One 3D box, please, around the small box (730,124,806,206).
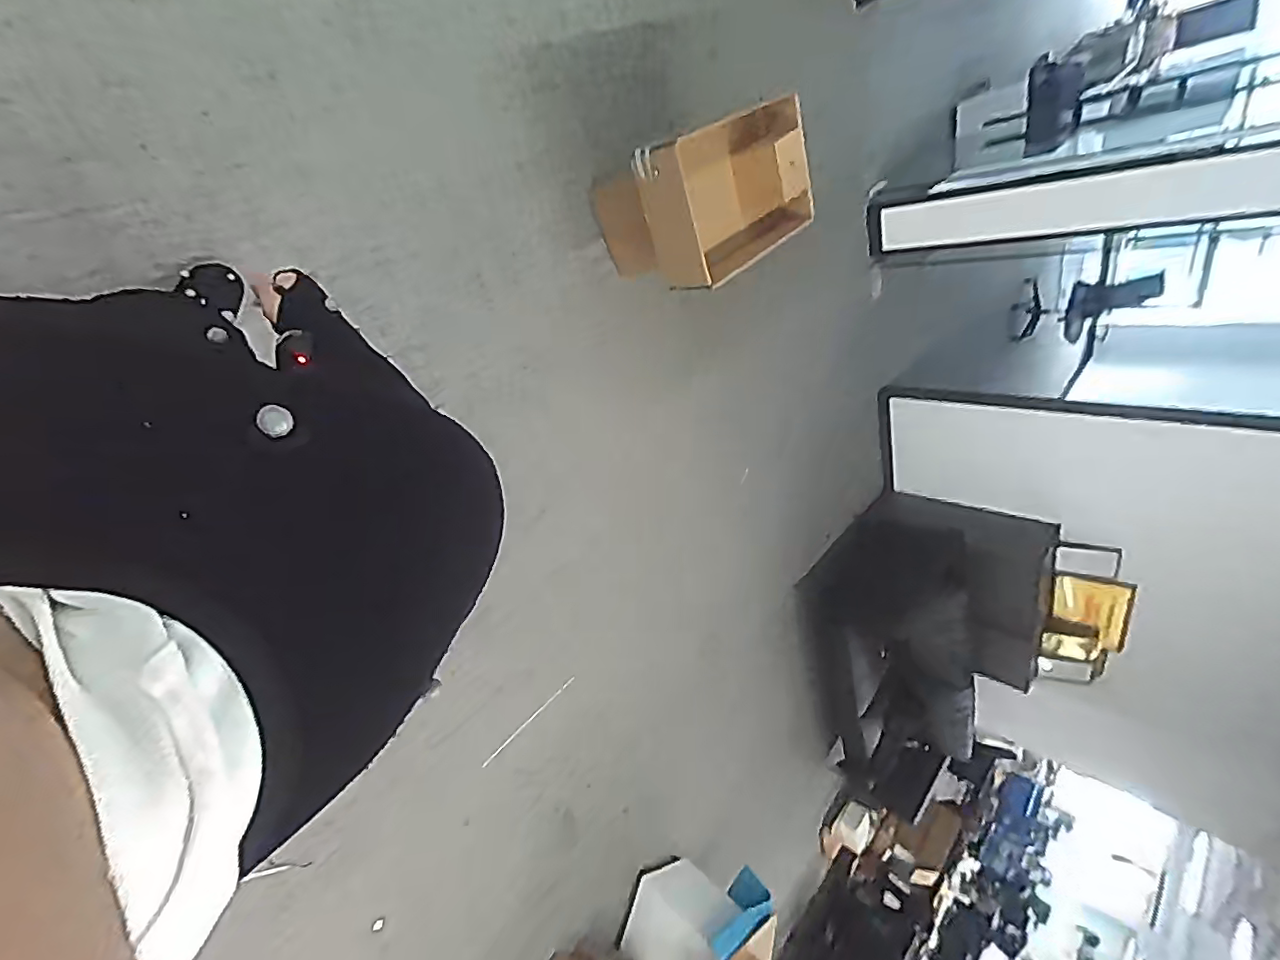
[{"bbox_3d":[0.411,-1.012,1.750,0.168,0.176,0.179,-45,130,-28],"label":"small box"}]
